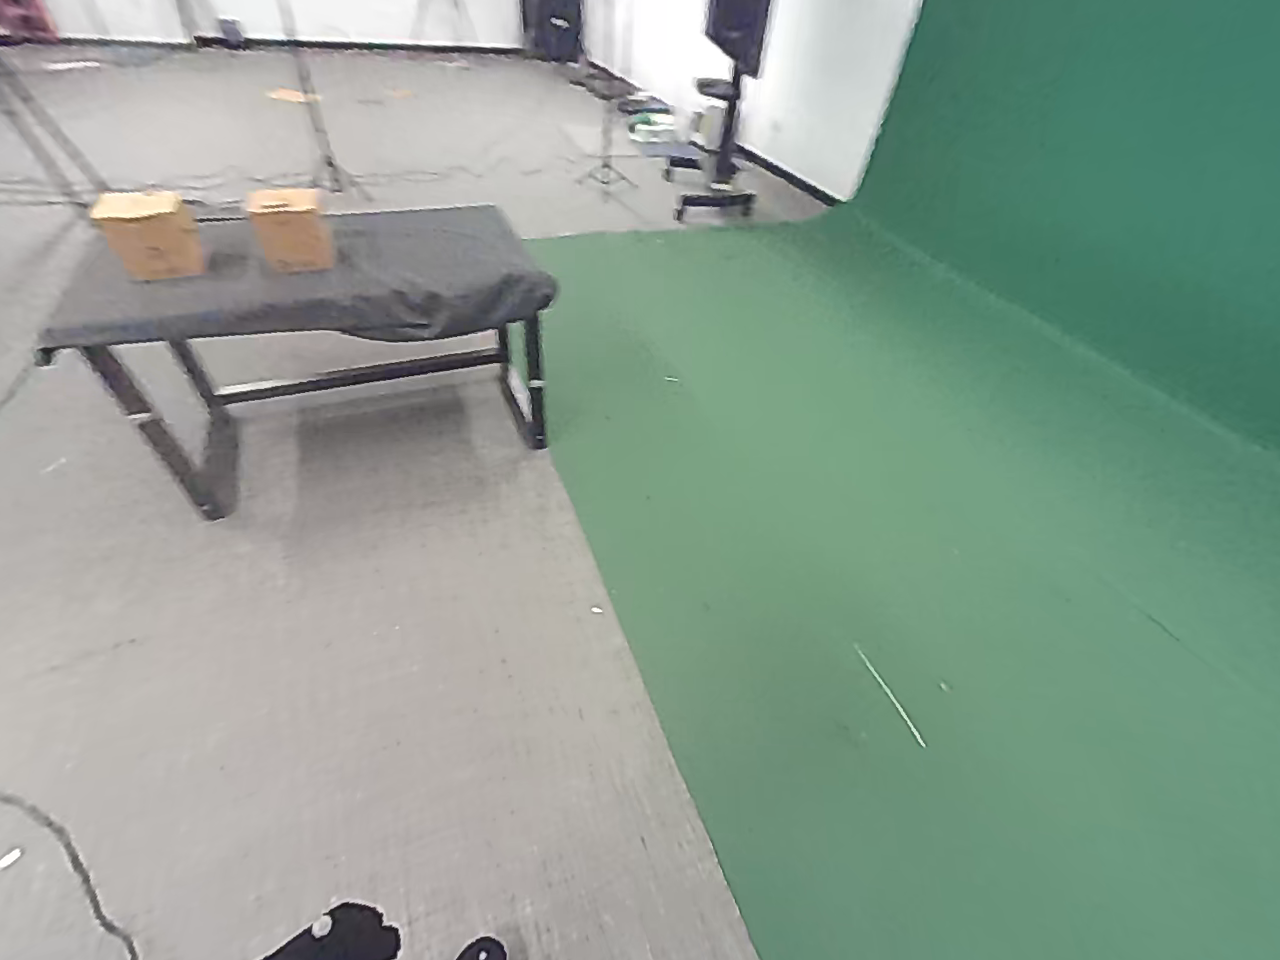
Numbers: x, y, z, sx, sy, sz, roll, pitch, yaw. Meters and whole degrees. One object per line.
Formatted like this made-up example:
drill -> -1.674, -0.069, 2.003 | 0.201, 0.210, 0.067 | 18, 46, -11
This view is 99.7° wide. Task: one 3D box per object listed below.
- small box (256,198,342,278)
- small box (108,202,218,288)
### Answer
small box -> -0.986, -0.703, 1.579 | 0.168, 0.176, 0.179 | -13, 46, -18
small box -> -1.299, -0.641, 1.487 | 0.168, 0.176, 0.179 | -15, 49, -20
